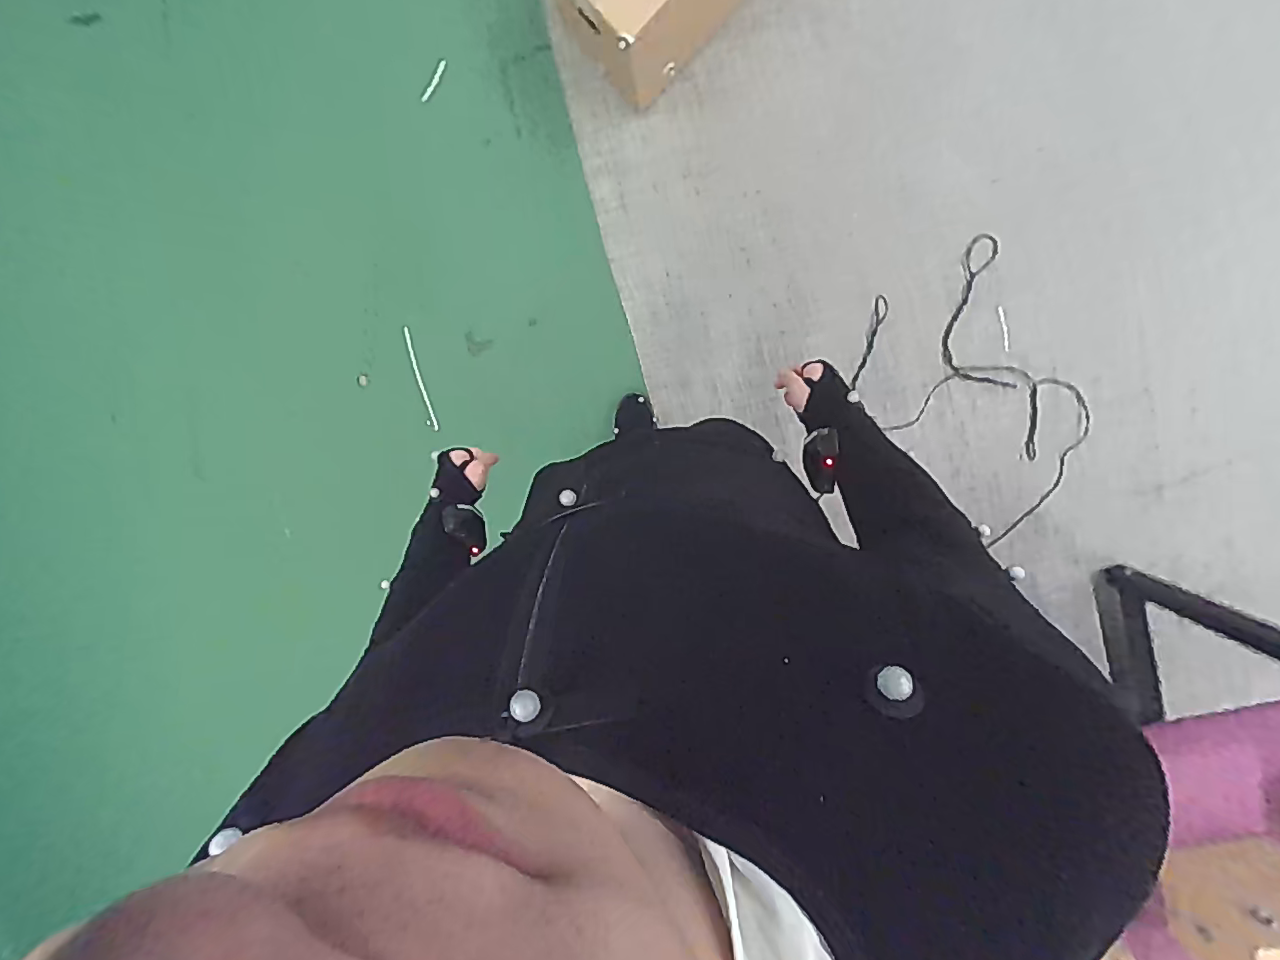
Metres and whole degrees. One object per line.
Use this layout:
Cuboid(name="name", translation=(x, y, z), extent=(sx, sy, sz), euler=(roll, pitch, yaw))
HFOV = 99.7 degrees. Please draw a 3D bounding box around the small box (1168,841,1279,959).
Cuboid(name="small box", translation=(0.983, 0.708, 0.844), extent=(0.179, 0.176, 0.168), euler=(-14, 99, 7))
